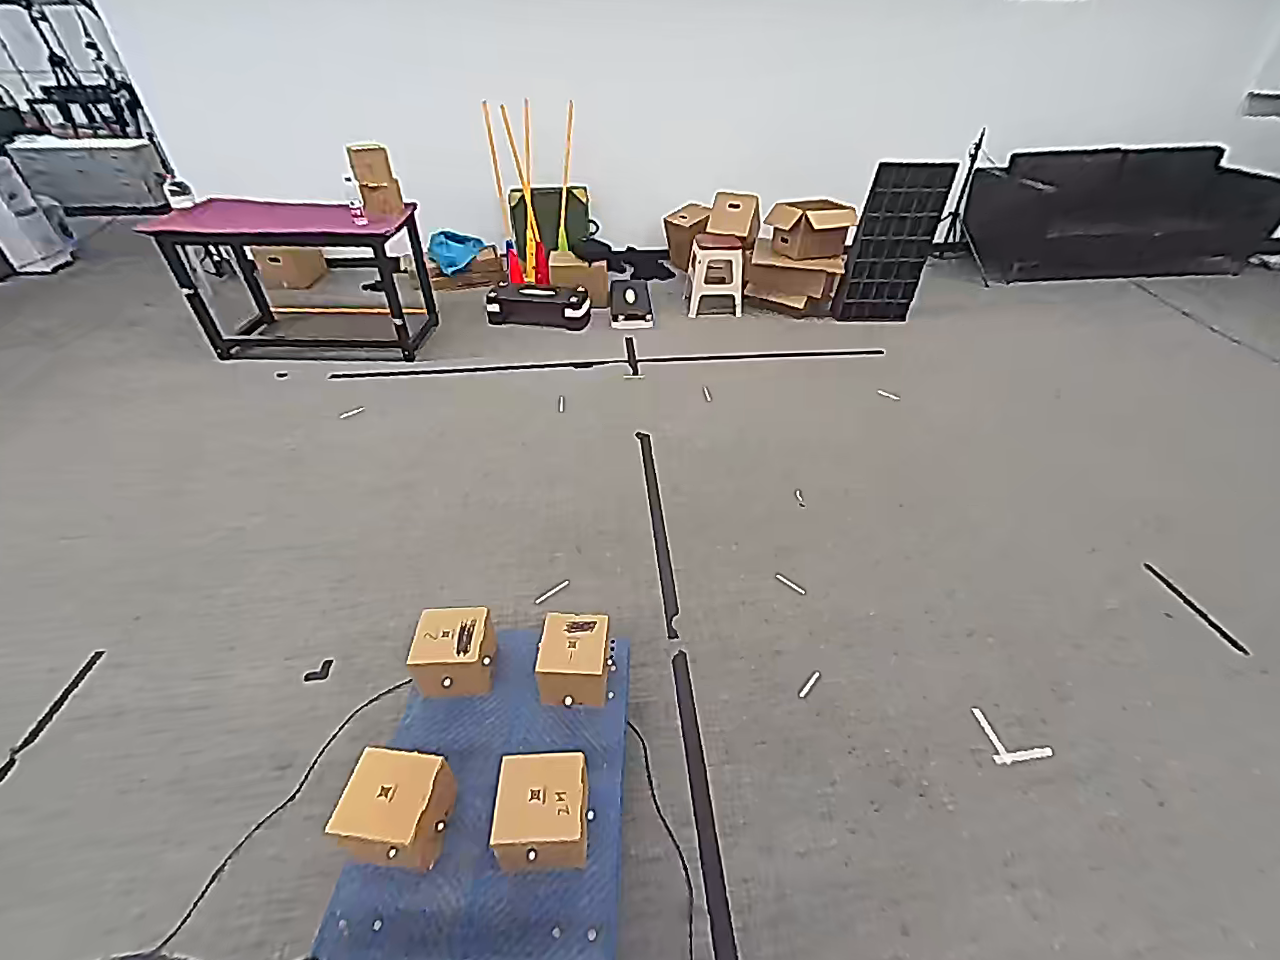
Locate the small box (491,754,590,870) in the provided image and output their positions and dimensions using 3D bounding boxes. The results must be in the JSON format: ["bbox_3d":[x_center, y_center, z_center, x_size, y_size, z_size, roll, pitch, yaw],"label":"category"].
[{"bbox_3d":[-0.200,0.700,1.139,0.179,0.176,0.168,-1,39,-2],"label":"small box"}]

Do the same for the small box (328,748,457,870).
[{"bbox_3d":[-0.509,0.695,1.141,0.179,0.176,0.168,6,39,3],"label":"small box"}]

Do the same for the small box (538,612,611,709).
[{"bbox_3d":[-0.165,0.473,1.418,0.168,0.176,0.179,2,40,2],"label":"small box"}]
